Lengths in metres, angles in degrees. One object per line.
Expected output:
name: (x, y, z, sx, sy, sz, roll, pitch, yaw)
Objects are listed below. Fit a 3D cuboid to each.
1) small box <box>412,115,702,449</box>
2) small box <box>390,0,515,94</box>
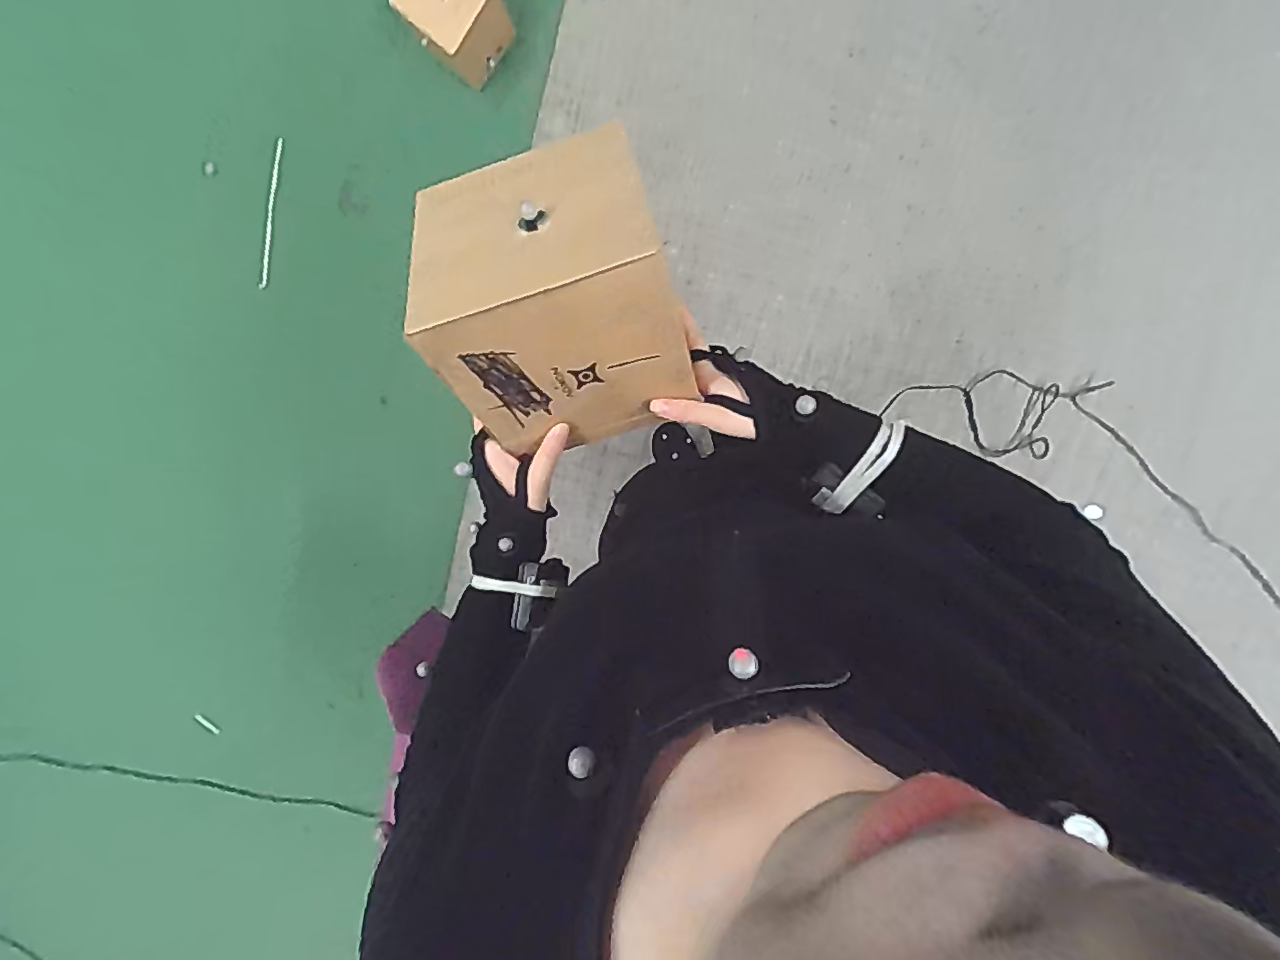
small box: (-0.058, -0.155, 0.445, 0.179, 0.168, 0.176, -15, 58, 6)
small box: (-0.419, -1.040, 1.236, 0.179, 0.176, 0.168, 39, 101, -4)
